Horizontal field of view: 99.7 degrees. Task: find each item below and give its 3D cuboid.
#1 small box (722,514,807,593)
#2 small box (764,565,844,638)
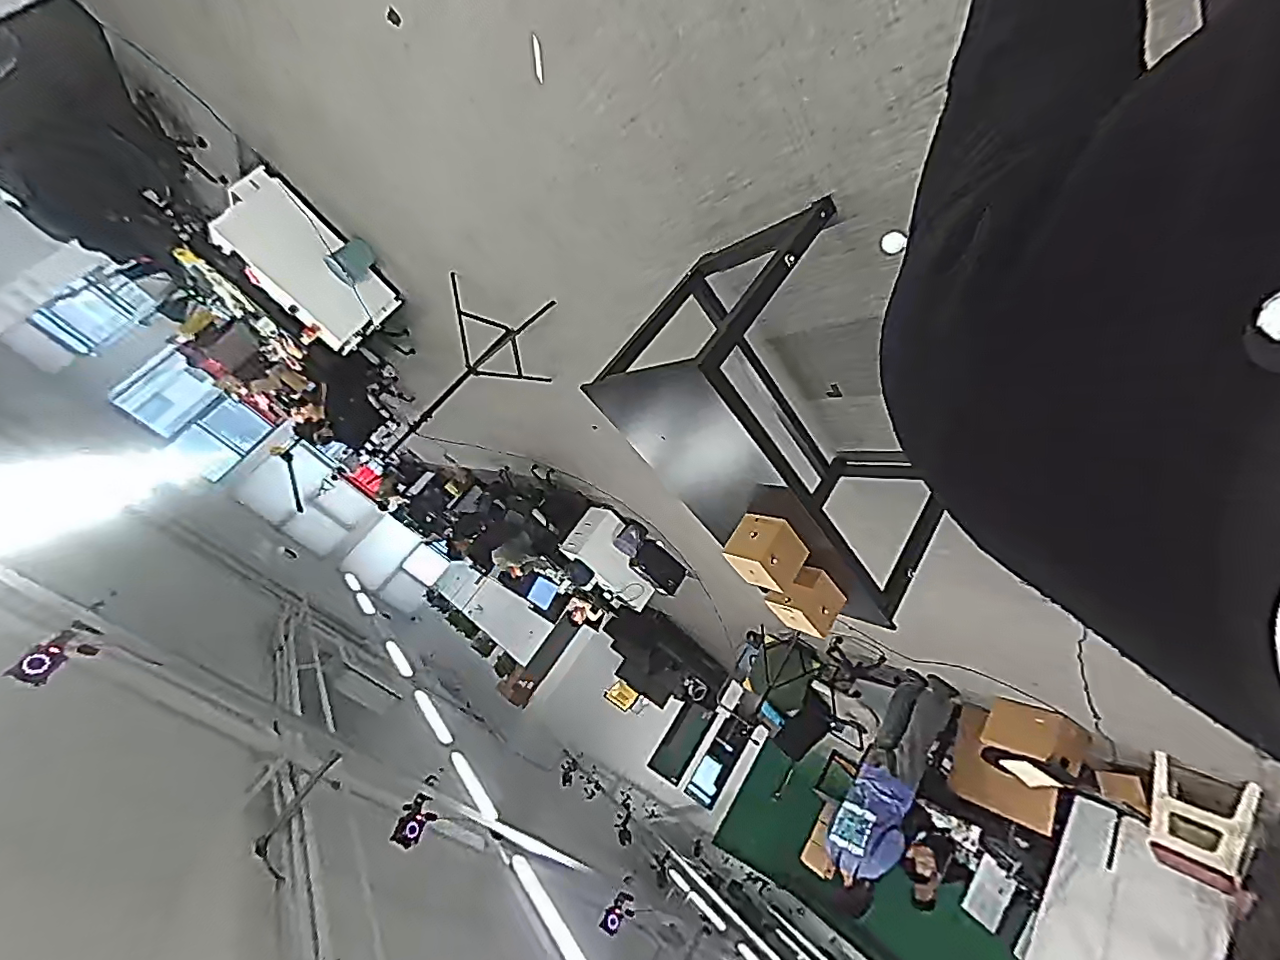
[{"bbox_3d":[0.403,0.230,1.738,0.179,0.176,0.168,48,159,-28],"label":"small box"},{"bbox_3d":[0.568,0.408,1.862,0.179,0.176,0.168,46,159,-25],"label":"small box"}]
